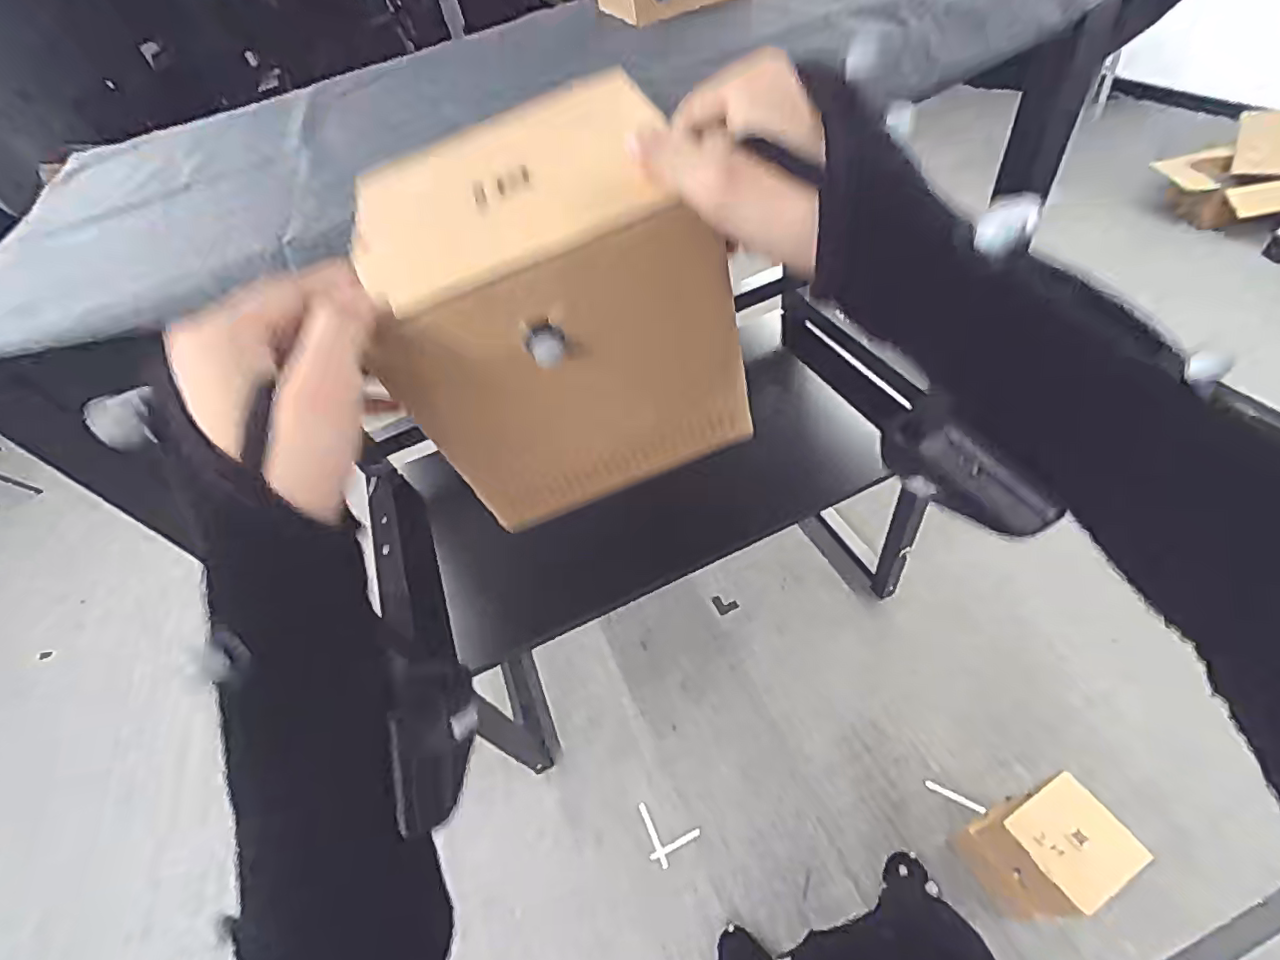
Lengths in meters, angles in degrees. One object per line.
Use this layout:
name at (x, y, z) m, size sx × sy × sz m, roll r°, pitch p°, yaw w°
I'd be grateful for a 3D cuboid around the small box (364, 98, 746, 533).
small box at (-0.042, -0.096, 0.346) m, size 0.179 × 0.176 × 0.168 m, roll -23°, pitch 51°, yaw 2°

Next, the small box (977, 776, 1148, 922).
small box at (0.801, 0.713, 1.048) m, size 0.179 × 0.176 × 0.168 m, roll -29°, pitch 52°, yaw -10°

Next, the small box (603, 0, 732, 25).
small box at (0.035, -0.711, 0.688) m, size 0.168 × 0.176 × 0.179 m, roll -21°, pitch 49°, yaw -5°
